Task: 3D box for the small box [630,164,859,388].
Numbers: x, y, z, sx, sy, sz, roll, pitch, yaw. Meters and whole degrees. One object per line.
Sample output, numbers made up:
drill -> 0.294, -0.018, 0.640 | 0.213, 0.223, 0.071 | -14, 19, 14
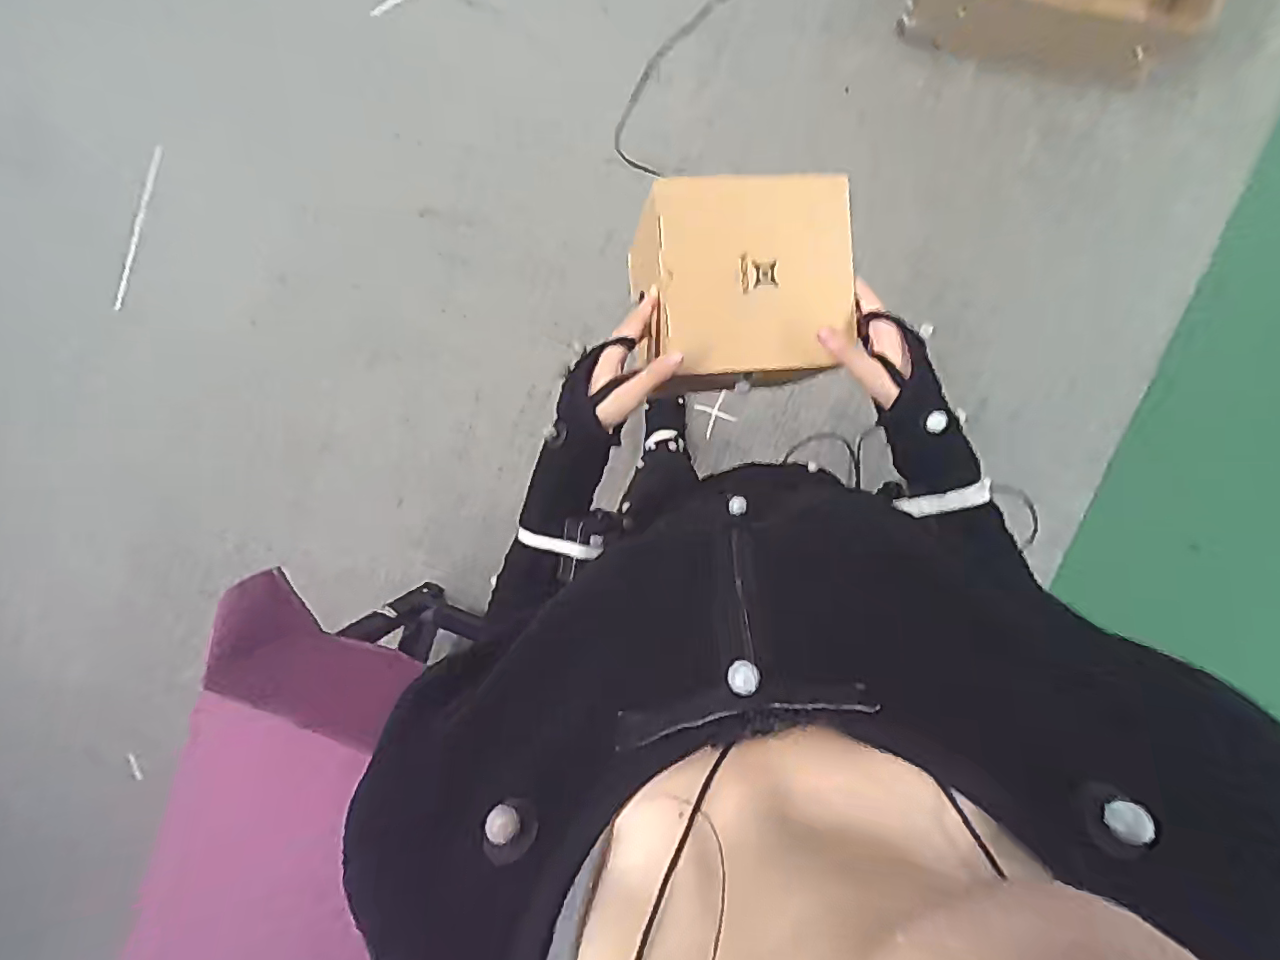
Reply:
small box -> 0.091, -0.185, 0.537 | 0.179, 0.176, 0.168 | -4, 93, -8
